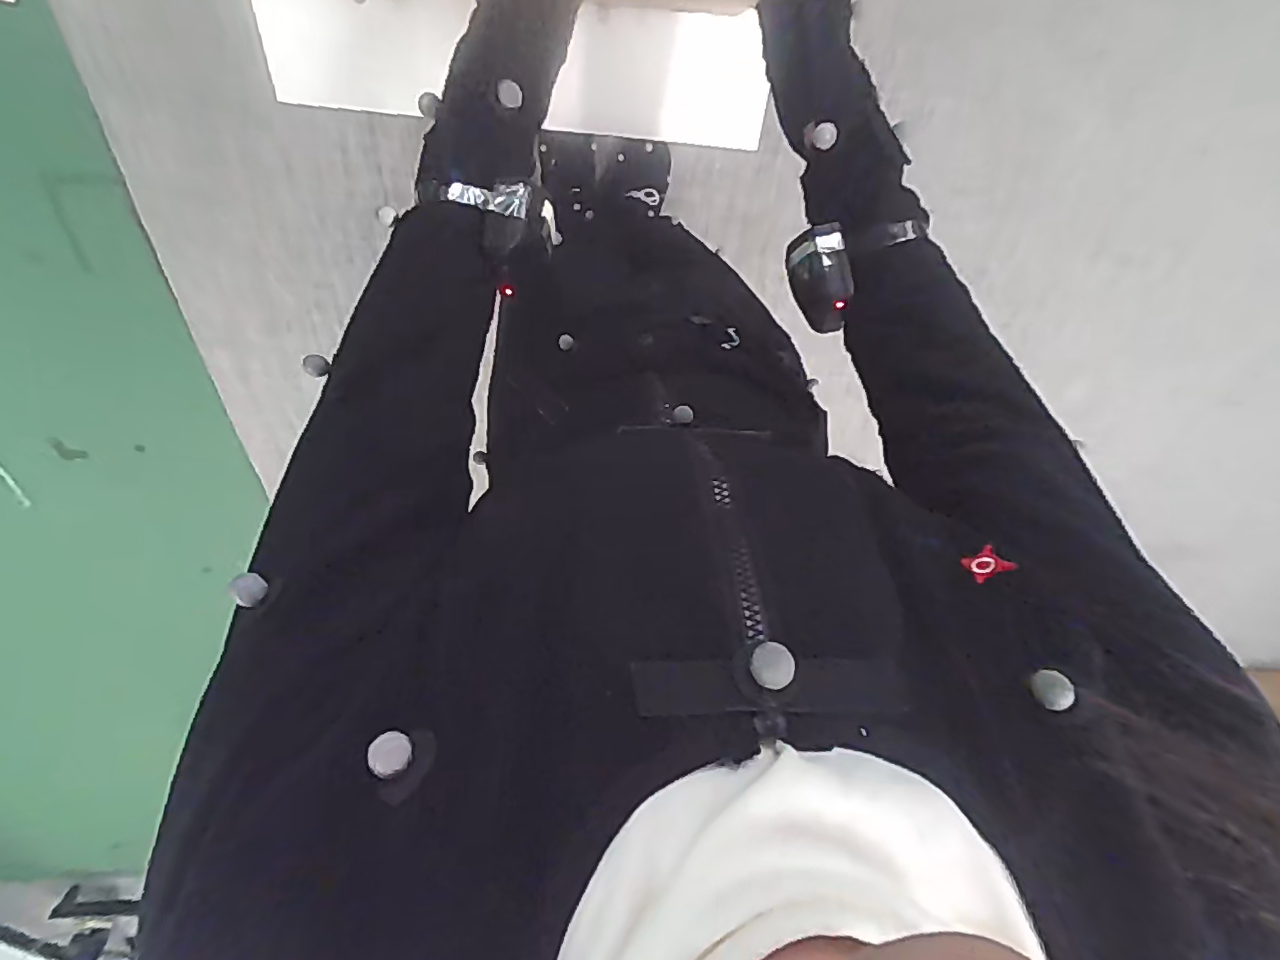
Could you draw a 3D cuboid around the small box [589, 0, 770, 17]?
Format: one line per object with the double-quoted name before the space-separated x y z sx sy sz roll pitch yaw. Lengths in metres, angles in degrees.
"small box" 0.028 -0.472 0.406 0.168 0.176 0.179 1 125 -4
